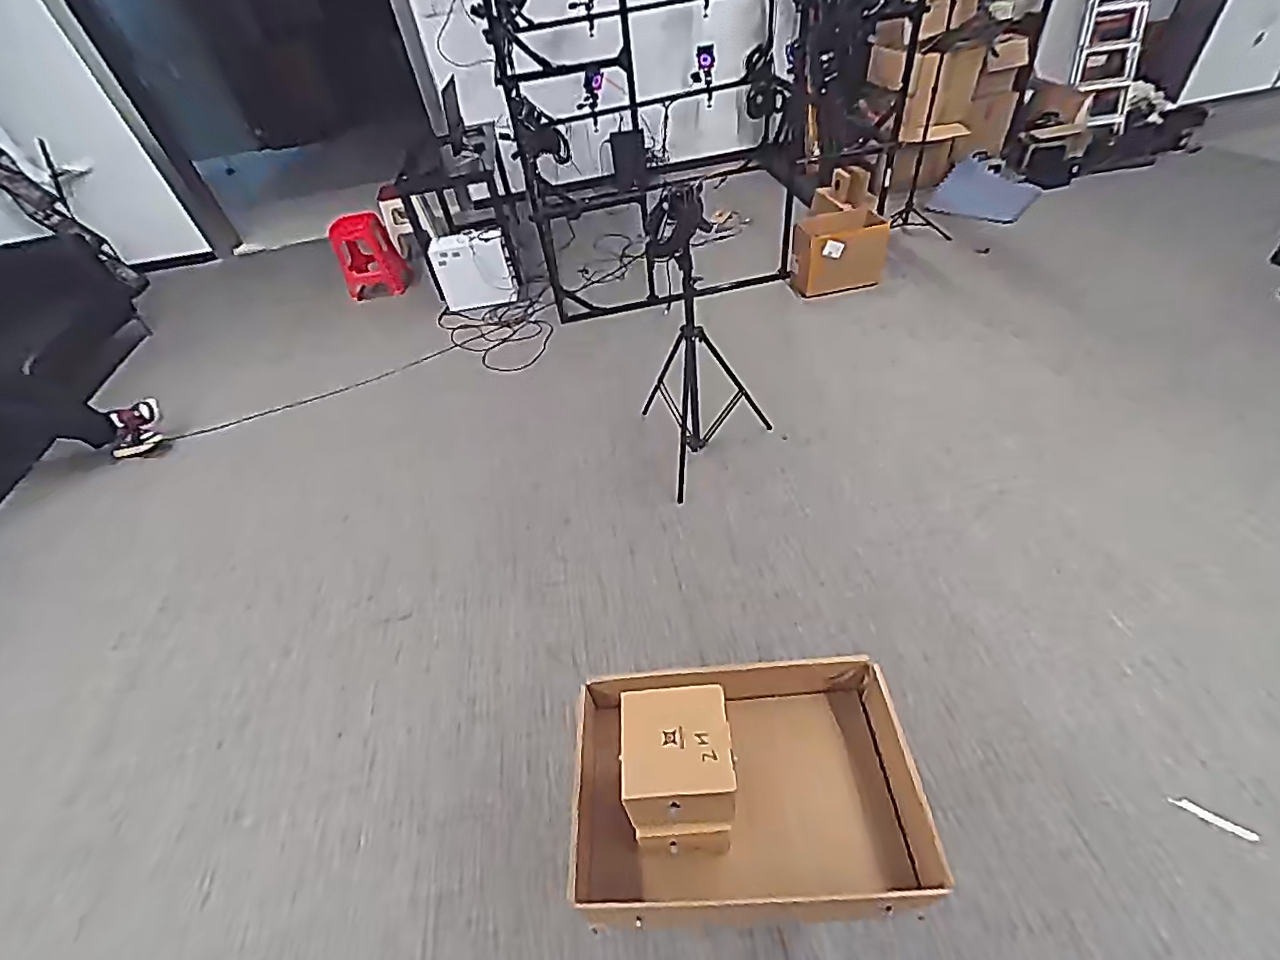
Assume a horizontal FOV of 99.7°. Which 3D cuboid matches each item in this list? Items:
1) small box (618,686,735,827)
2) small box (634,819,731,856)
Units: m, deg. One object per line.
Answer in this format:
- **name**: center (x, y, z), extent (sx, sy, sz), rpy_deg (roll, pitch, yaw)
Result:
- **small box**: center (0.062, 0.466, 0.907), extent (0.179, 0.176, 0.168), rpy_deg (-5, 44, 3)
- **small box**: center (0.078, 0.588, 1.016), extent (0.168, 0.176, 0.179), rpy_deg (-6, 44, 2)
